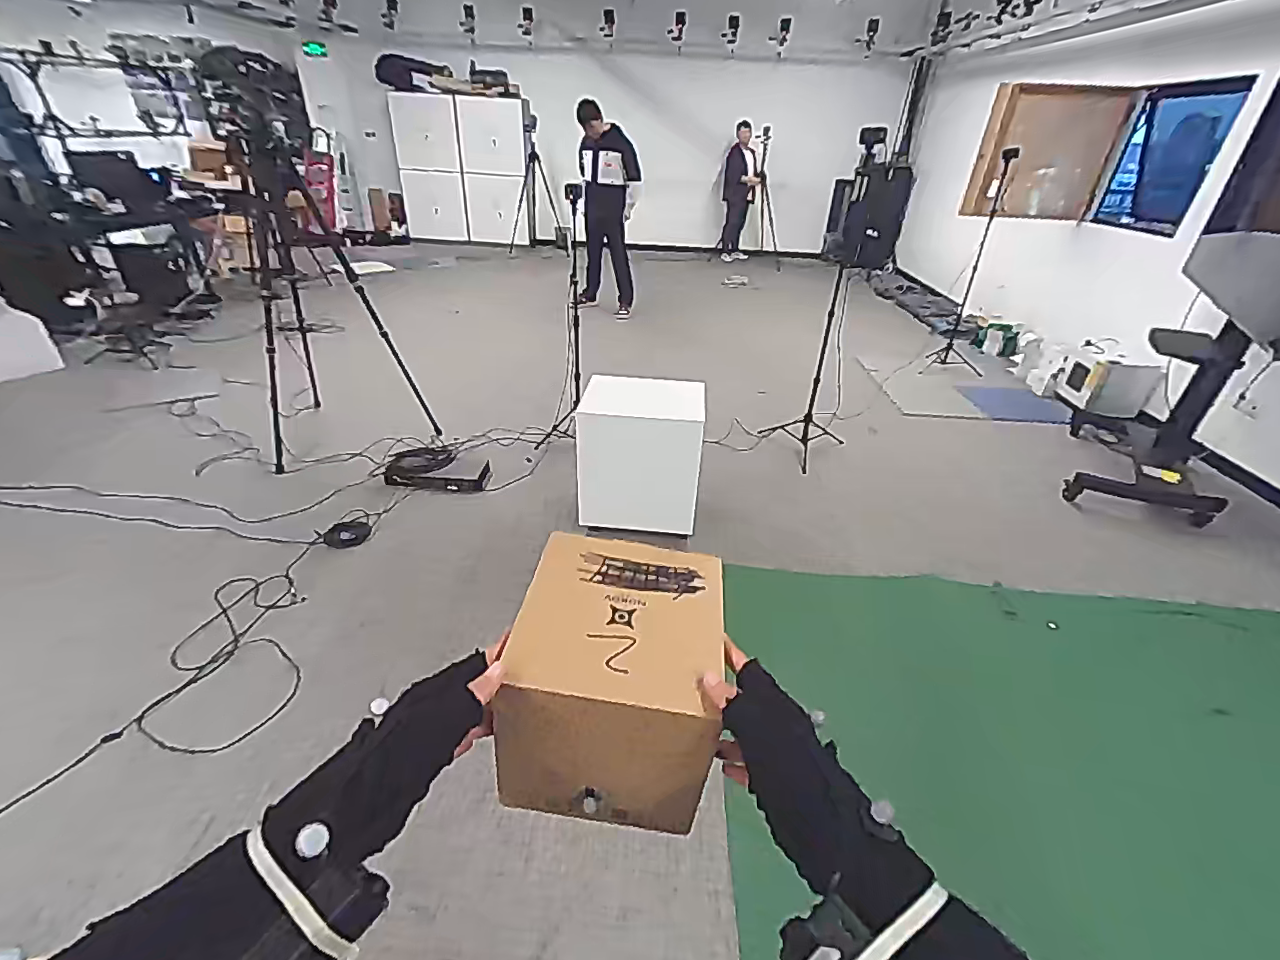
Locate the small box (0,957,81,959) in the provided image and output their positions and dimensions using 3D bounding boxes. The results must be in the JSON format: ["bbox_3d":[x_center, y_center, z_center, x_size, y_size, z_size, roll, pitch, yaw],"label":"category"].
[{"bbox_3d":[-1.135,1.017,0.992,0.168,0.176,0.179,2,32,-2],"label":"small box"}]
